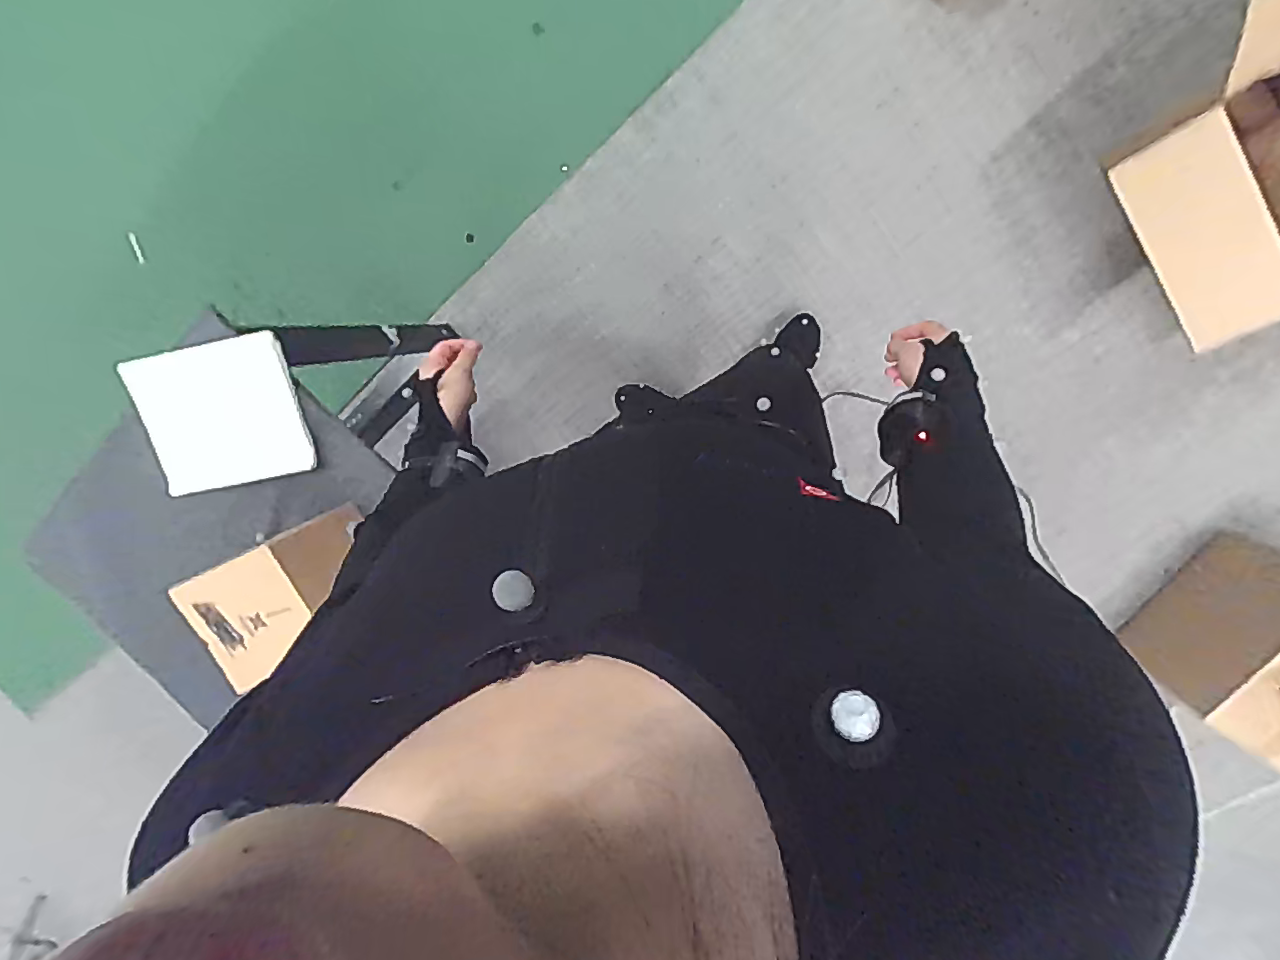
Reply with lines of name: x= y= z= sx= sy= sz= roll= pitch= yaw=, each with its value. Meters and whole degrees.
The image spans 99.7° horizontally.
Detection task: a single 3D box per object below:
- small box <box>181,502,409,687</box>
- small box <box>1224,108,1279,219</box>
small box: x=-0.474 y=0.154 z=0.770 sx=0.179 sy=0.176 sz=0.168 roll=-23 pitch=103 yaw=13
small box: x=1.189 y=-0.582 z=0.929 sx=0.168 sy=0.176 sz=0.179 roll=-37 pitch=99 yaw=17
